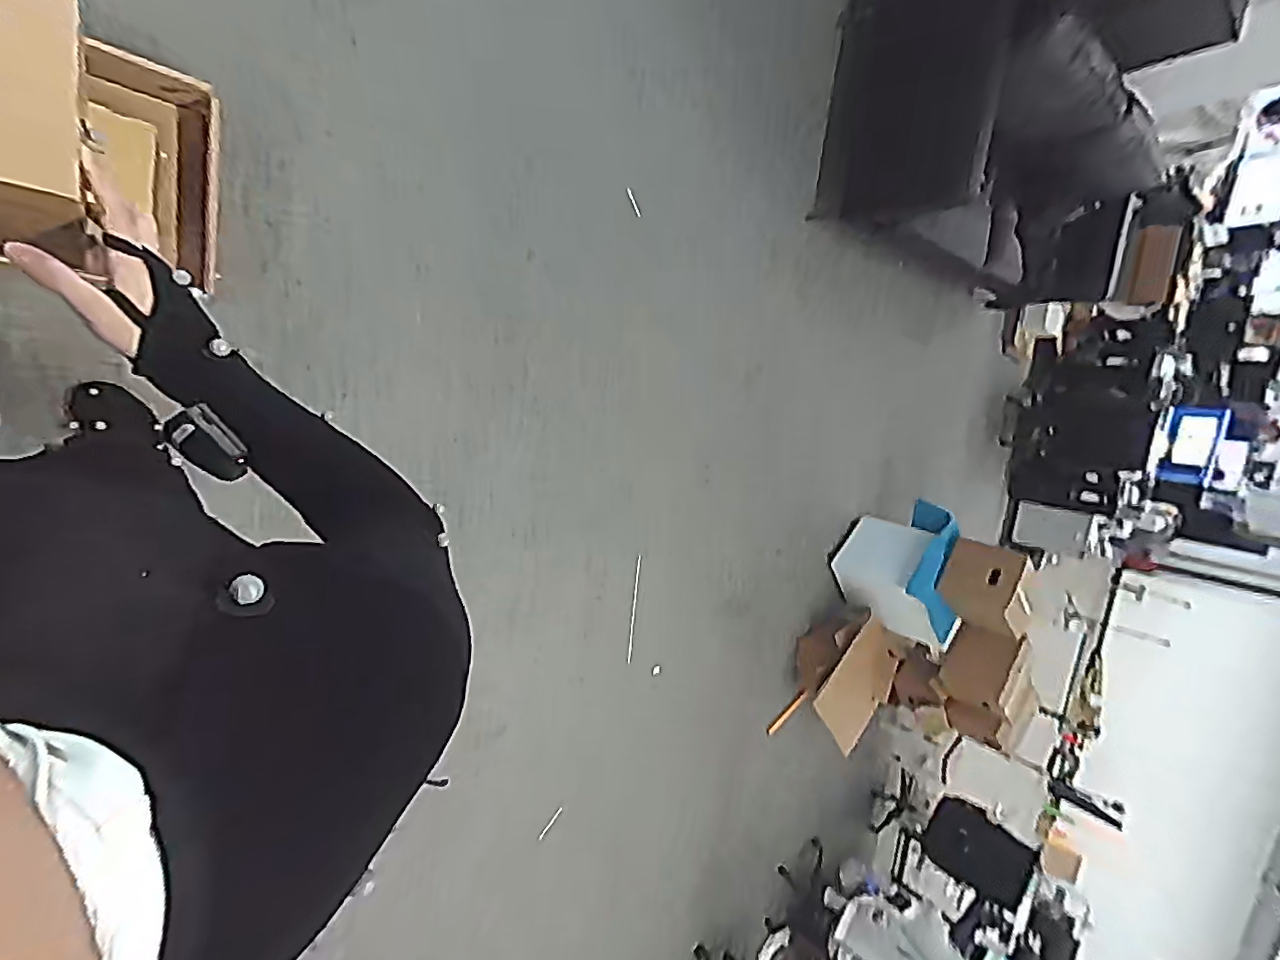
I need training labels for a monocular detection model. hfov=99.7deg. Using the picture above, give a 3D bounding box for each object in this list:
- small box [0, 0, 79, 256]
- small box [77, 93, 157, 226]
[{"bbox_3d":[-0.553,-0.299,0.415,0.168,0.176,0.179,0,87,-46],"label":"small box"},{"bbox_3d":[-1.005,-0.587,0.992,0.168,0.176,0.179,3,100,-40],"label":"small box"}]
